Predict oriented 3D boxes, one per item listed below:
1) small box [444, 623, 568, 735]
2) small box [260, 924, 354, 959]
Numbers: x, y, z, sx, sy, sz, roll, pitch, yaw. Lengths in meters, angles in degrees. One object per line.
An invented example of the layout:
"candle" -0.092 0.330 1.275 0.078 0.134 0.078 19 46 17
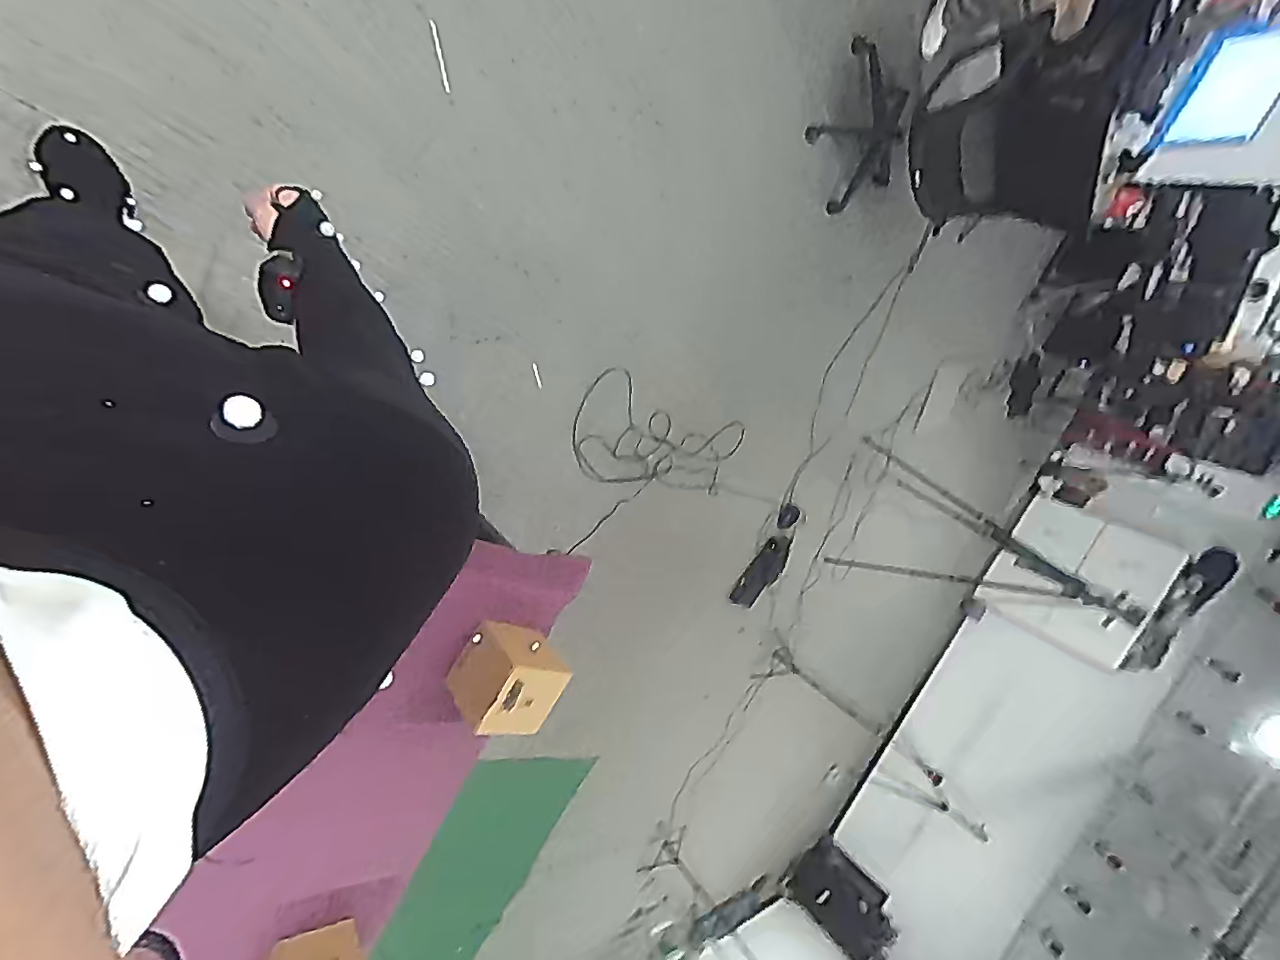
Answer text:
"small box" -0.302 0.440 1.204 0.179 0.176 0.168 31 92 -48
"small box" -0.755 1.147 1.203 0.179 0.176 0.168 27 93 -49
